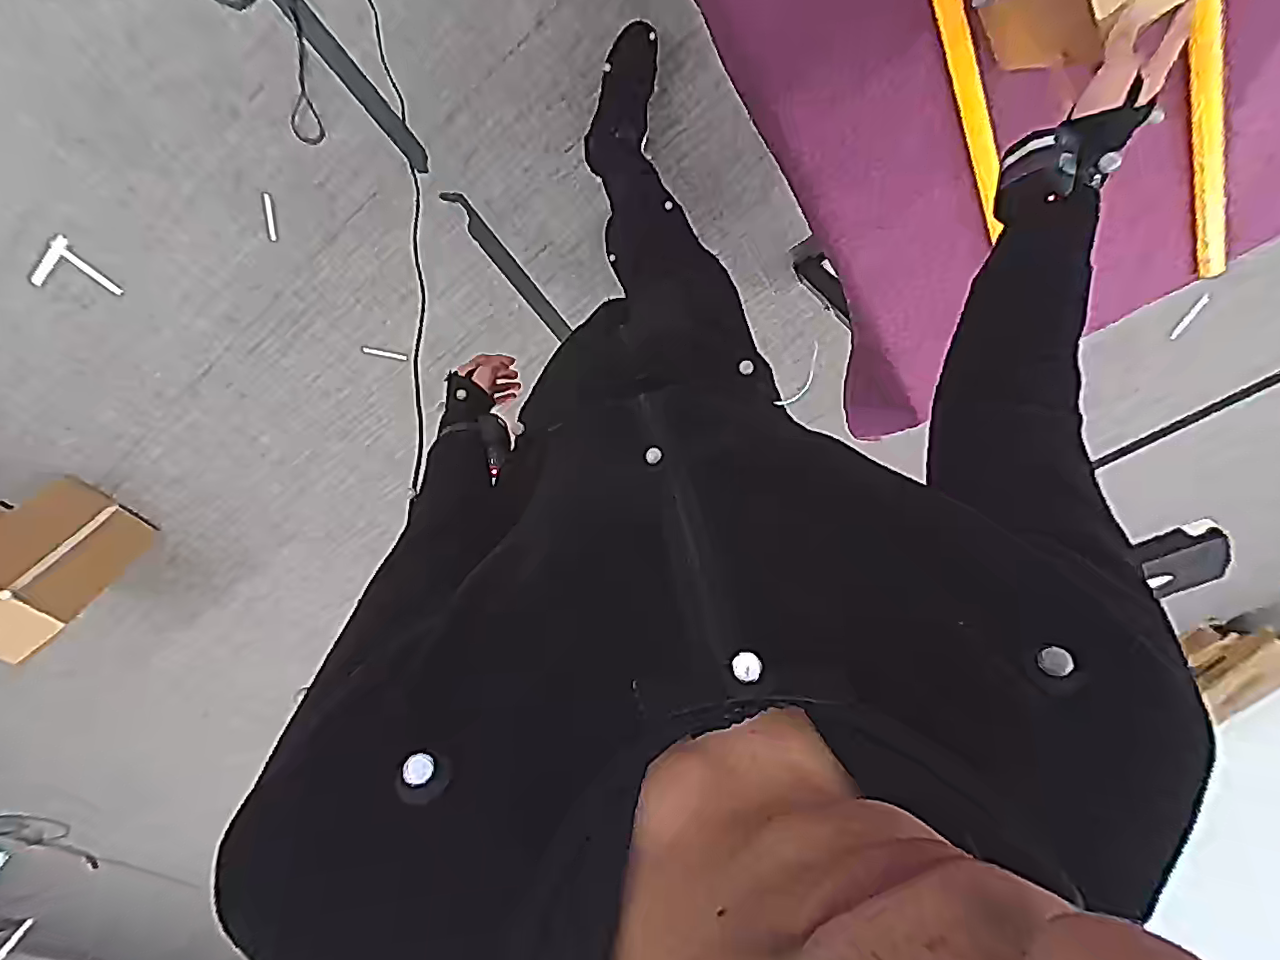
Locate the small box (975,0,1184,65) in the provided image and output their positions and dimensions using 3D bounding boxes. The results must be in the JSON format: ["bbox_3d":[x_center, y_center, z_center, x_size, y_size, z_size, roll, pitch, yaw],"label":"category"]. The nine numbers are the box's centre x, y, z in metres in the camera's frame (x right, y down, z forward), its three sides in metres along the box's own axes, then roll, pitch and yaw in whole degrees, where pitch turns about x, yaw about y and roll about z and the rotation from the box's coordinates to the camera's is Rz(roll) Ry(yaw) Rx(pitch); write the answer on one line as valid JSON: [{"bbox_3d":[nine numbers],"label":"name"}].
[{"bbox_3d":[0.414,-0.514,0.477,0.168,0.176,0.179,-36,121,21],"label":"small box"}]
